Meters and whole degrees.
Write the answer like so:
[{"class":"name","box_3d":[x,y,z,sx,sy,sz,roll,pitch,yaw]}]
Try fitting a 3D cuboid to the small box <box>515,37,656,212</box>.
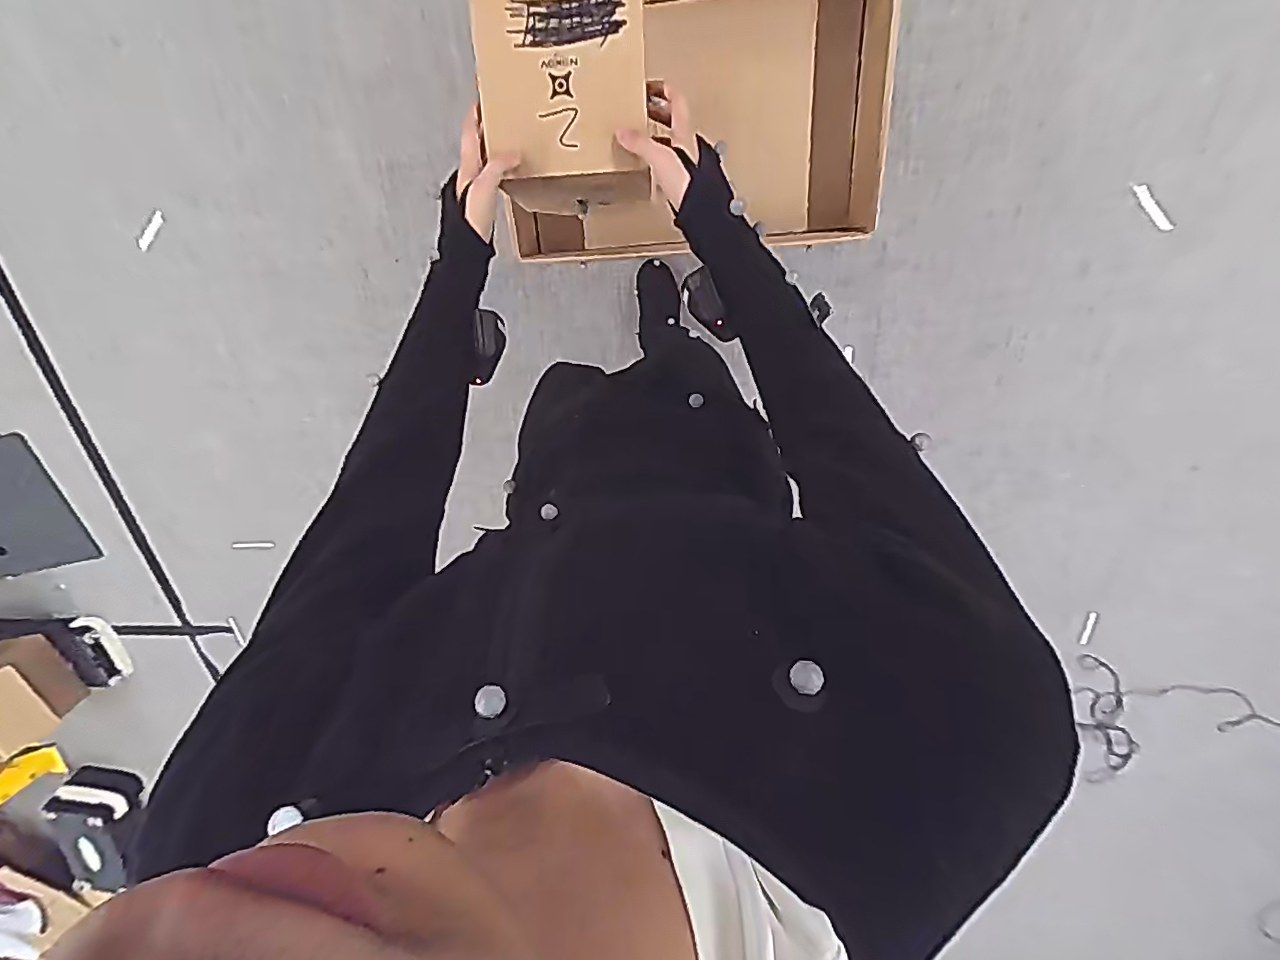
[{"class":"small box","box_3d":[-0.065,-0.486,0.765,0.168,0.176,0.179,-1,114,6]}]
